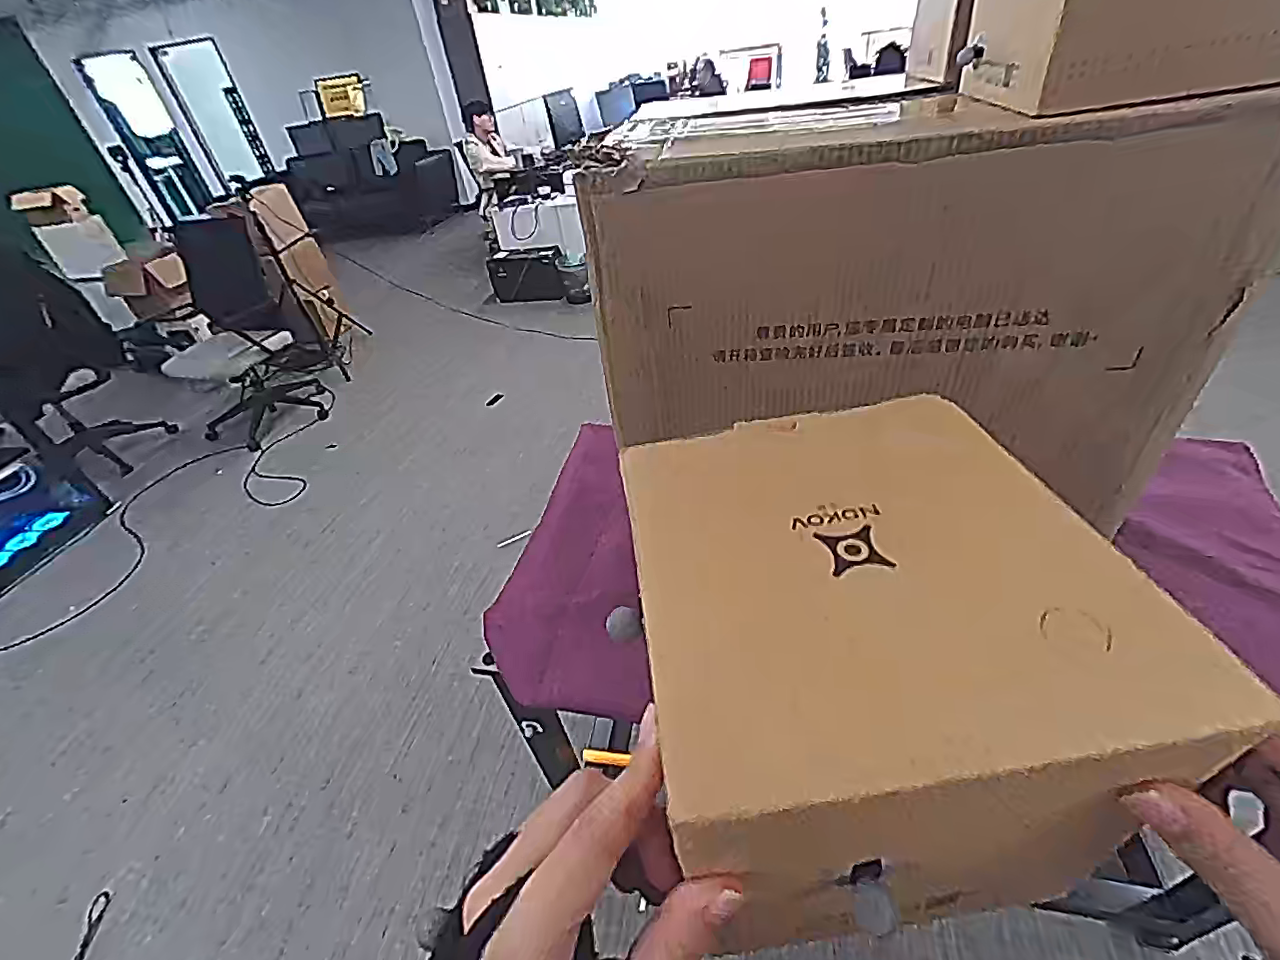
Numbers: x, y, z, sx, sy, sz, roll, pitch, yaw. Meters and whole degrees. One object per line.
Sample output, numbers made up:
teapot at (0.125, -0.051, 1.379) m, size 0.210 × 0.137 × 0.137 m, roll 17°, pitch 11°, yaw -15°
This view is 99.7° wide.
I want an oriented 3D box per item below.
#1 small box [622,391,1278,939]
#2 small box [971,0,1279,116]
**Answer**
small box at (0.092, 0.085, 0.256) m, size 0.168 × 0.176 × 0.179 m, roll -11°, pitch 38°, yaw 0°
small box at (0.347, -0.359, 0.360) m, size 0.179 × 0.176 × 0.168 m, roll -2°, pitch 40°, yaw 10°
